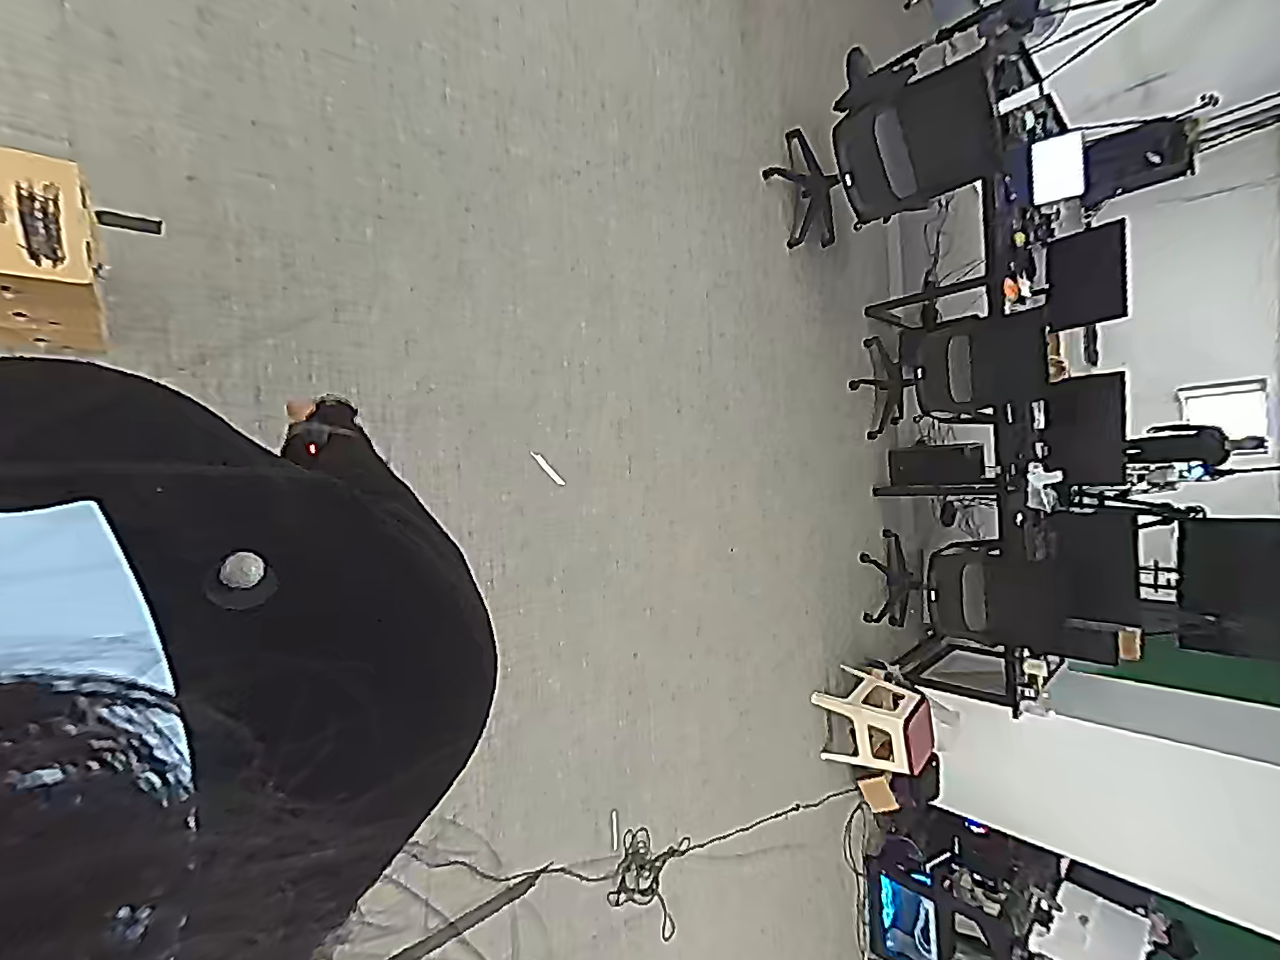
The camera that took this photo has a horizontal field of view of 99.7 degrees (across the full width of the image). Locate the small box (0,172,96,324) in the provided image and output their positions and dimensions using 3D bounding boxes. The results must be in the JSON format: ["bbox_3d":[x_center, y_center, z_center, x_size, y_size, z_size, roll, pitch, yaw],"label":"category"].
[{"bbox_3d":[-0.984,-0.364,0.856,0.168,0.176,0.179,-3,91,-43],"label":"small box"}]

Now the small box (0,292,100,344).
[{"bbox_3d":[-1.098,-0.351,0.972,0.168,0.176,0.179,-6,92,-43],"label":"small box"}]
